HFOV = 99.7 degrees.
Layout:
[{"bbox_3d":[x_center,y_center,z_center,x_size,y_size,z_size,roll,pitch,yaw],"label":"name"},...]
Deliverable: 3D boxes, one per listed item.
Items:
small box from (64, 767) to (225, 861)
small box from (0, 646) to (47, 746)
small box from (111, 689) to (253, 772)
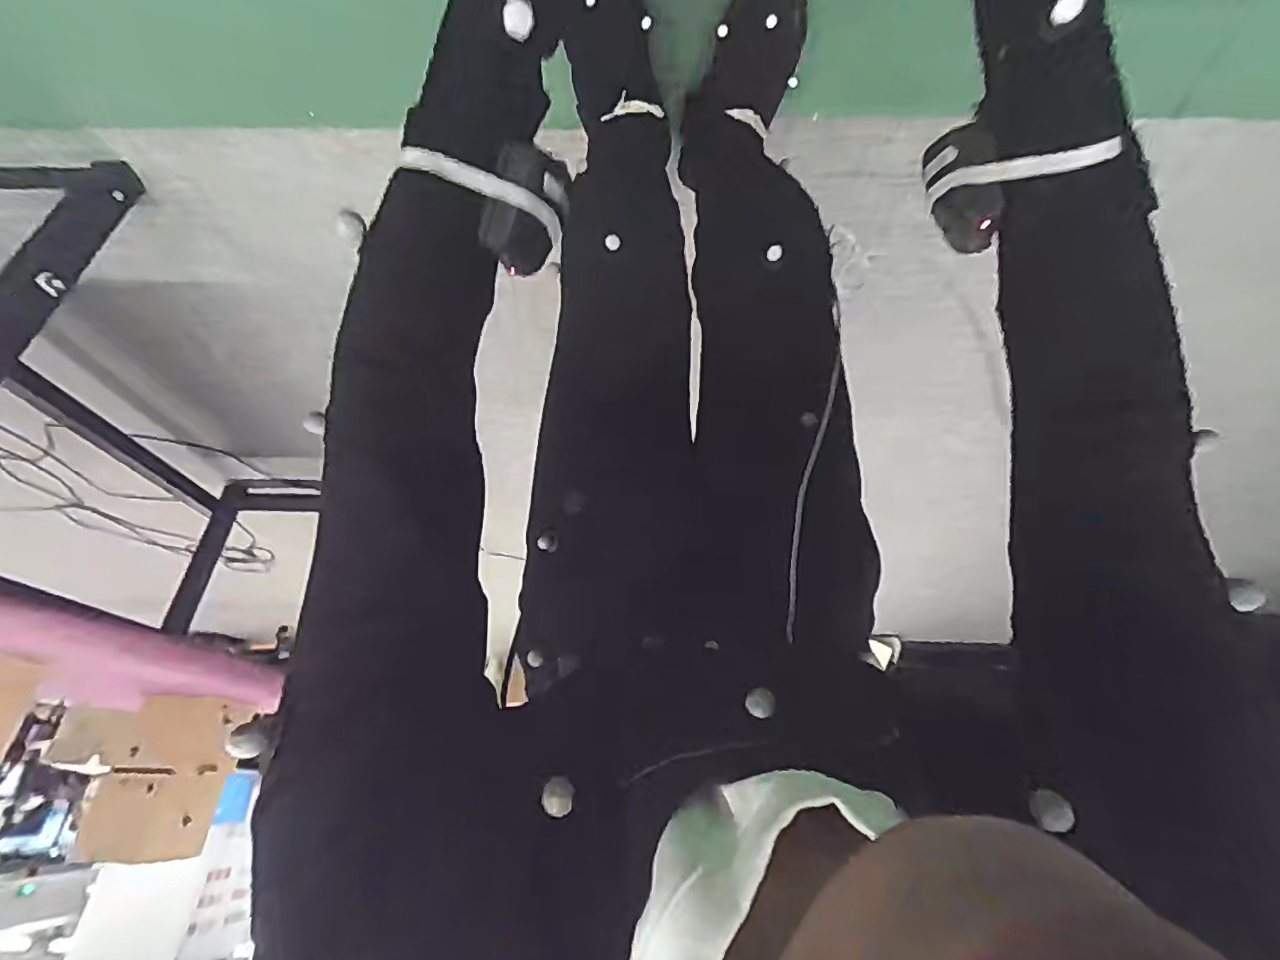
[{"bbox_3d":[-1.111,0.753,1.230,0.168,0.176,0.179,1,150,5],"label":"small box"},{"bbox_3d":[-1.128,0.344,0.855,0.168,0.176,0.179,4,150,-4],"label":"small box"},{"bbox_3d":[-1.101,0.611,1.319,0.179,0.176,0.168,-2,151,6],"label":"small box"}]
